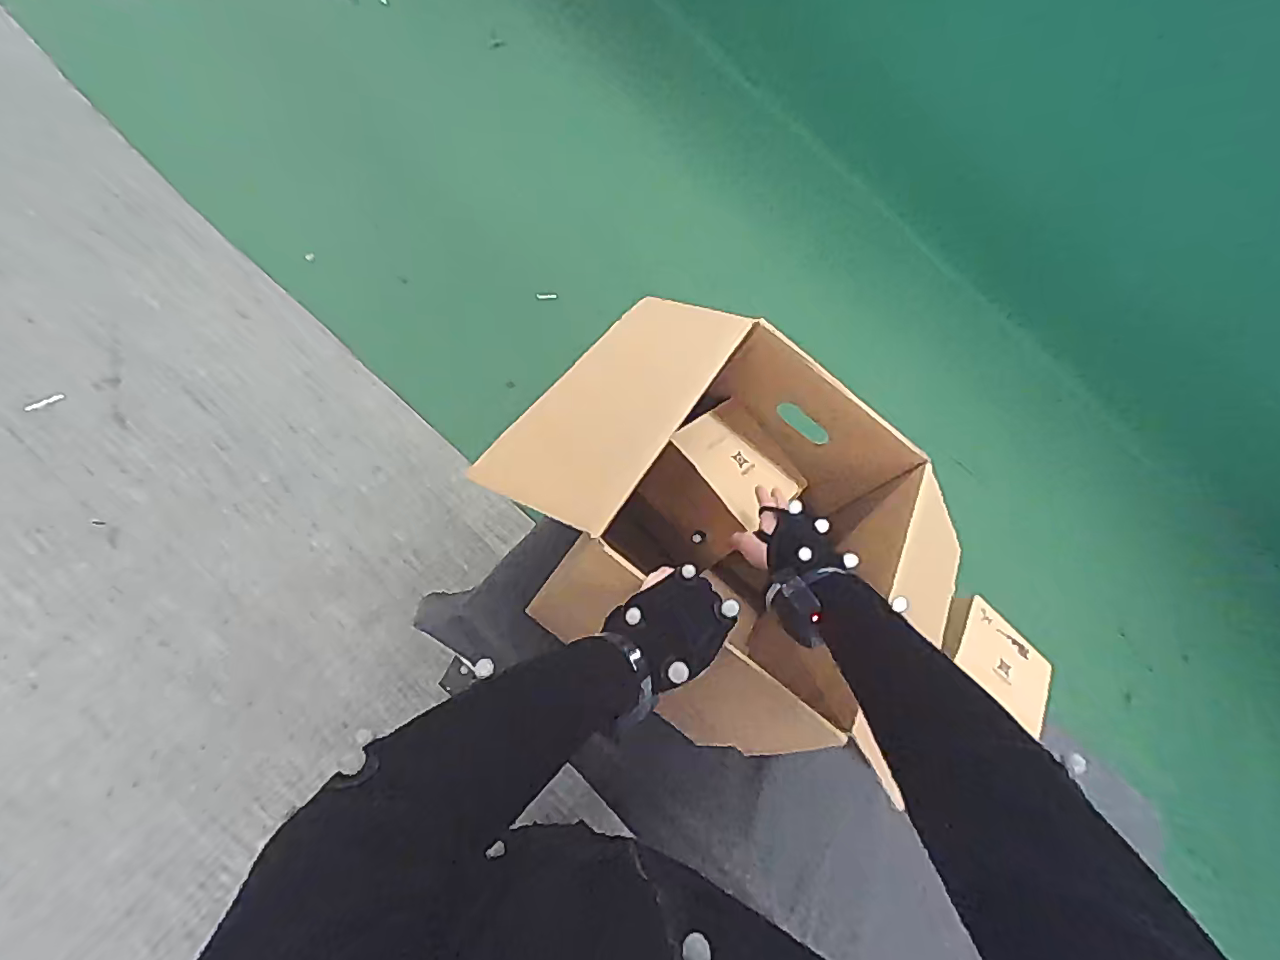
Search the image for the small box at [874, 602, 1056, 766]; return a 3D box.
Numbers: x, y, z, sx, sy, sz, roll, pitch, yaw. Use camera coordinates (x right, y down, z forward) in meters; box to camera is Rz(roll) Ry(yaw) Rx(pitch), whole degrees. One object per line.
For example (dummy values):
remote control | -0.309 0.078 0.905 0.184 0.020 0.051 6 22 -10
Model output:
small box | 0.516 0.332 0.876 0.168 0.176 0.179 46 56 3
